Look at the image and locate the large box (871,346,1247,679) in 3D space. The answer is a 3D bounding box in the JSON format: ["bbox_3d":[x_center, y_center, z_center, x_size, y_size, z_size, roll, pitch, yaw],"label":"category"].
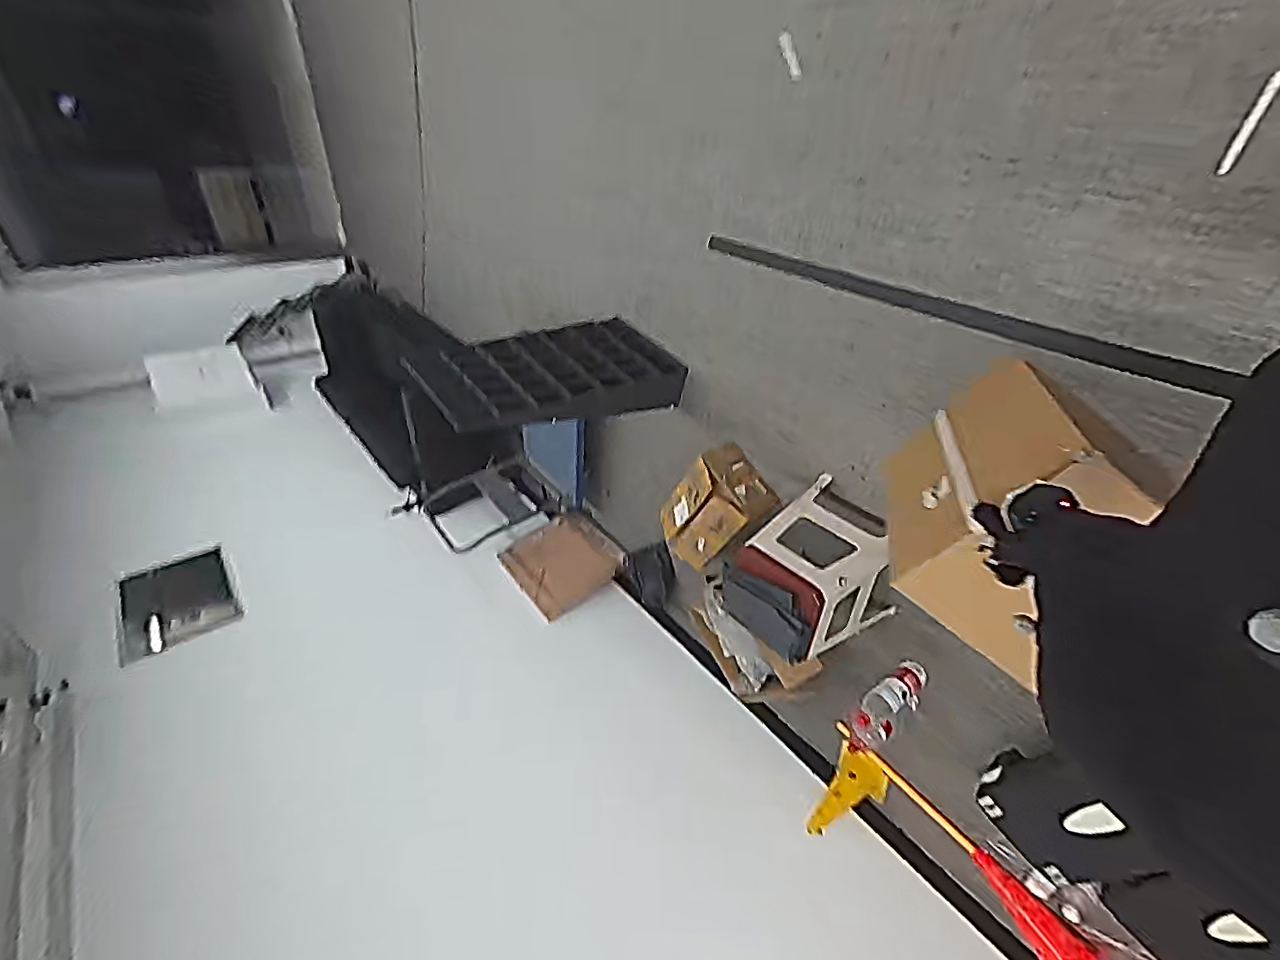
[{"bbox_3d":[0.631,0.038,0.909,0.320,0.408,0.320,37,126,-5],"label":"large box"}]
